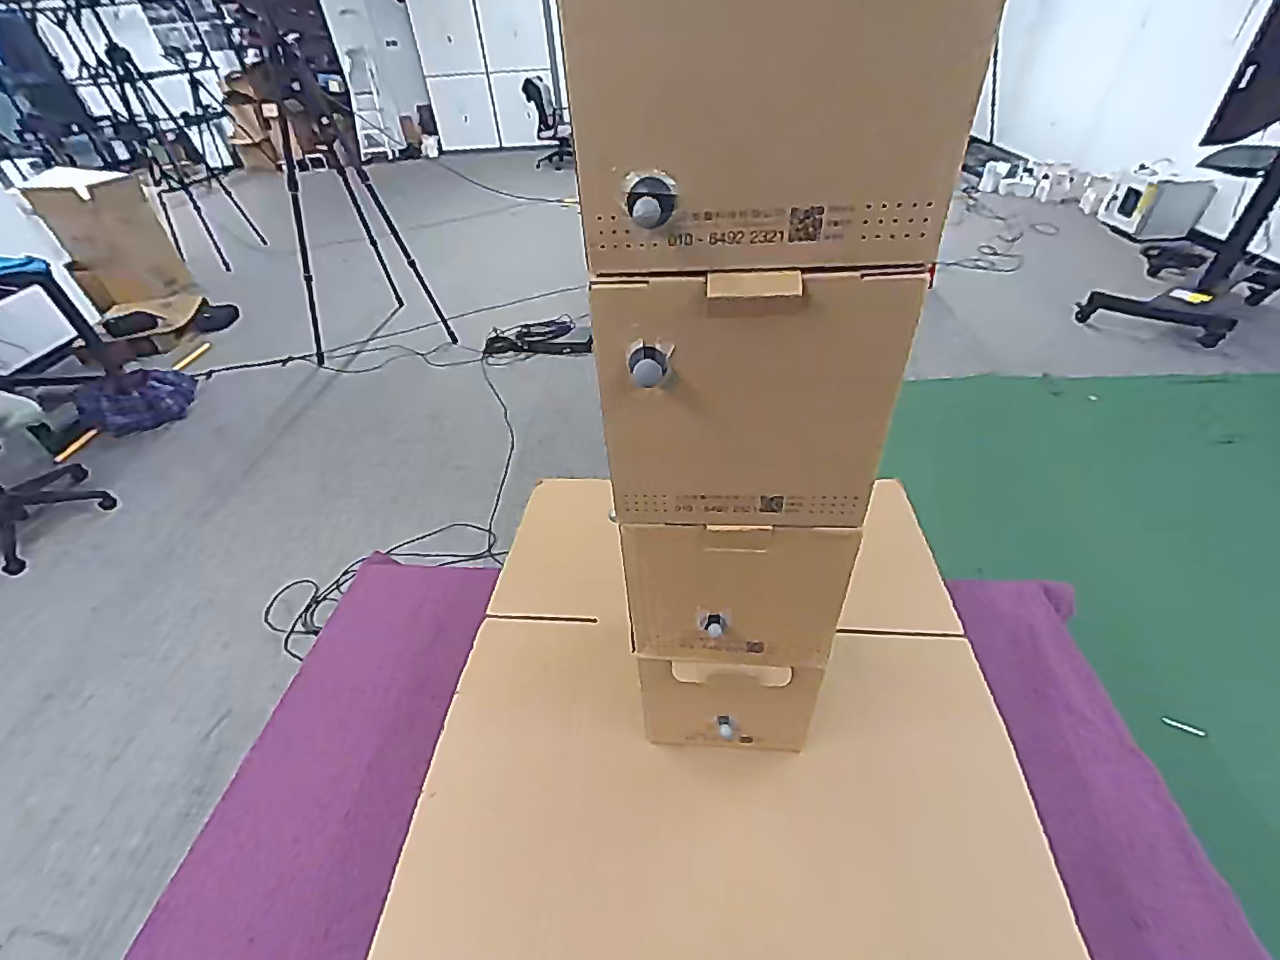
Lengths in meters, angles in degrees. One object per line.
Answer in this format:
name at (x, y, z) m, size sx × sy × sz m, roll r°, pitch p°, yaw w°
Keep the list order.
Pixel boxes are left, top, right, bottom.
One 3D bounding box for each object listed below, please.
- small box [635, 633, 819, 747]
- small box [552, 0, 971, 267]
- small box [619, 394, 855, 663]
small box at (0.089, 0.163, 0.592) m, size 0.168 × 0.176 × 0.179 m, roll 0°, pitch 40°, yaw 7°
small box at (0.056, -0.218, 0.282) m, size 0.168 × 0.176 × 0.179 m, roll 1°, pitch 38°, yaw 7°
small box at (0.077, 0.038, 0.488) m, size 0.168 × 0.176 × 0.179 m, roll 1°, pitch 40°, yaw 6°
